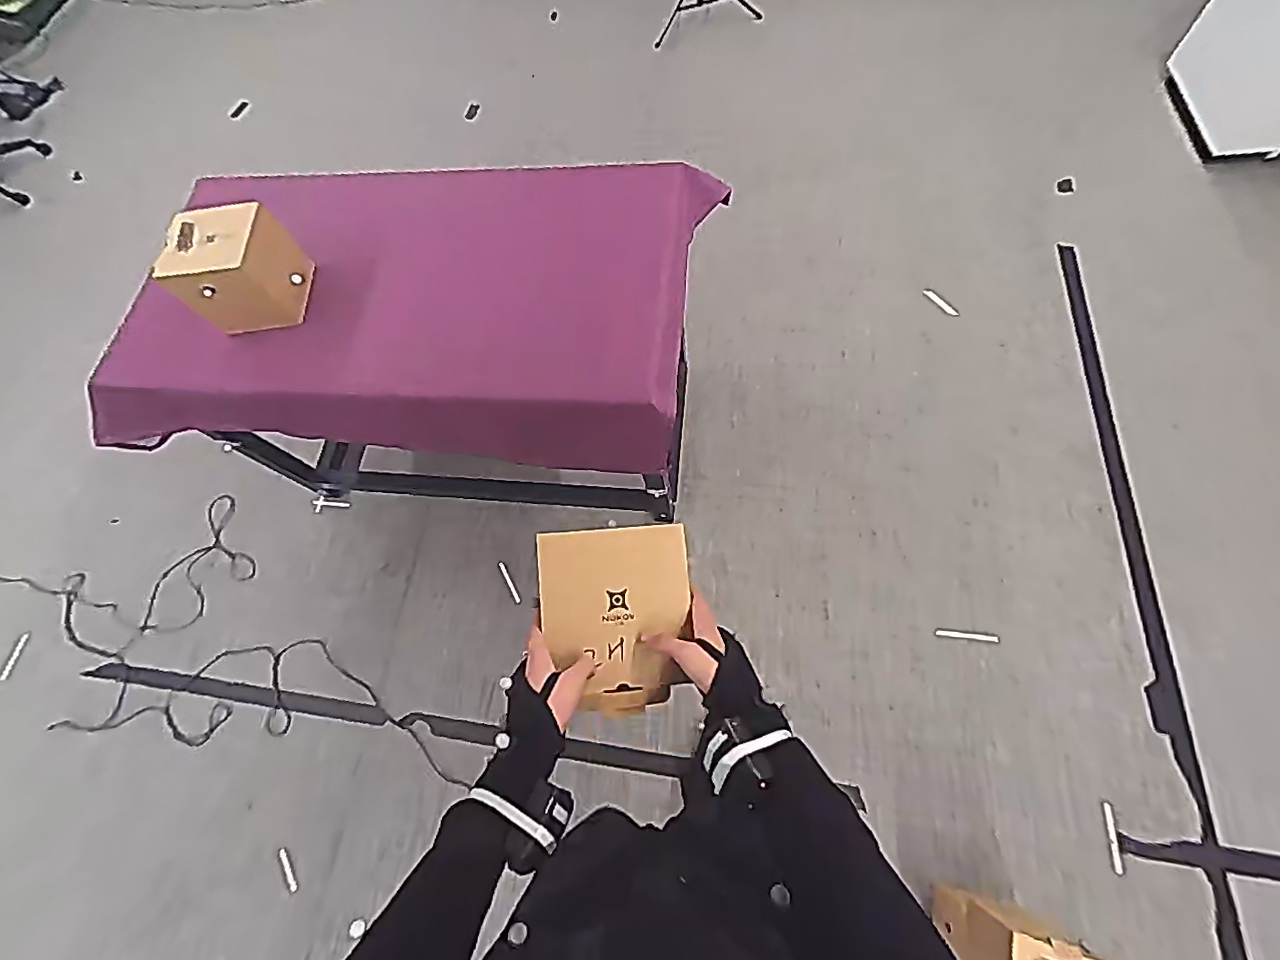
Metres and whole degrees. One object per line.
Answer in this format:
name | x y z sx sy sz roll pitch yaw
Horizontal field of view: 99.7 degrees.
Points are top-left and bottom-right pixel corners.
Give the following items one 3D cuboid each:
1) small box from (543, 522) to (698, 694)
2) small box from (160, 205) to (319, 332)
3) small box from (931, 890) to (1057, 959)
small box | -0.031 0.150 0.667 0.168 0.176 0.179 -3 82 -6
small box | -0.797 -0.419 1.096 0.179 0.176 0.168 -5 67 4
small box | 0.717 0.976 1.109 0.179 0.176 0.168 8 69 10
